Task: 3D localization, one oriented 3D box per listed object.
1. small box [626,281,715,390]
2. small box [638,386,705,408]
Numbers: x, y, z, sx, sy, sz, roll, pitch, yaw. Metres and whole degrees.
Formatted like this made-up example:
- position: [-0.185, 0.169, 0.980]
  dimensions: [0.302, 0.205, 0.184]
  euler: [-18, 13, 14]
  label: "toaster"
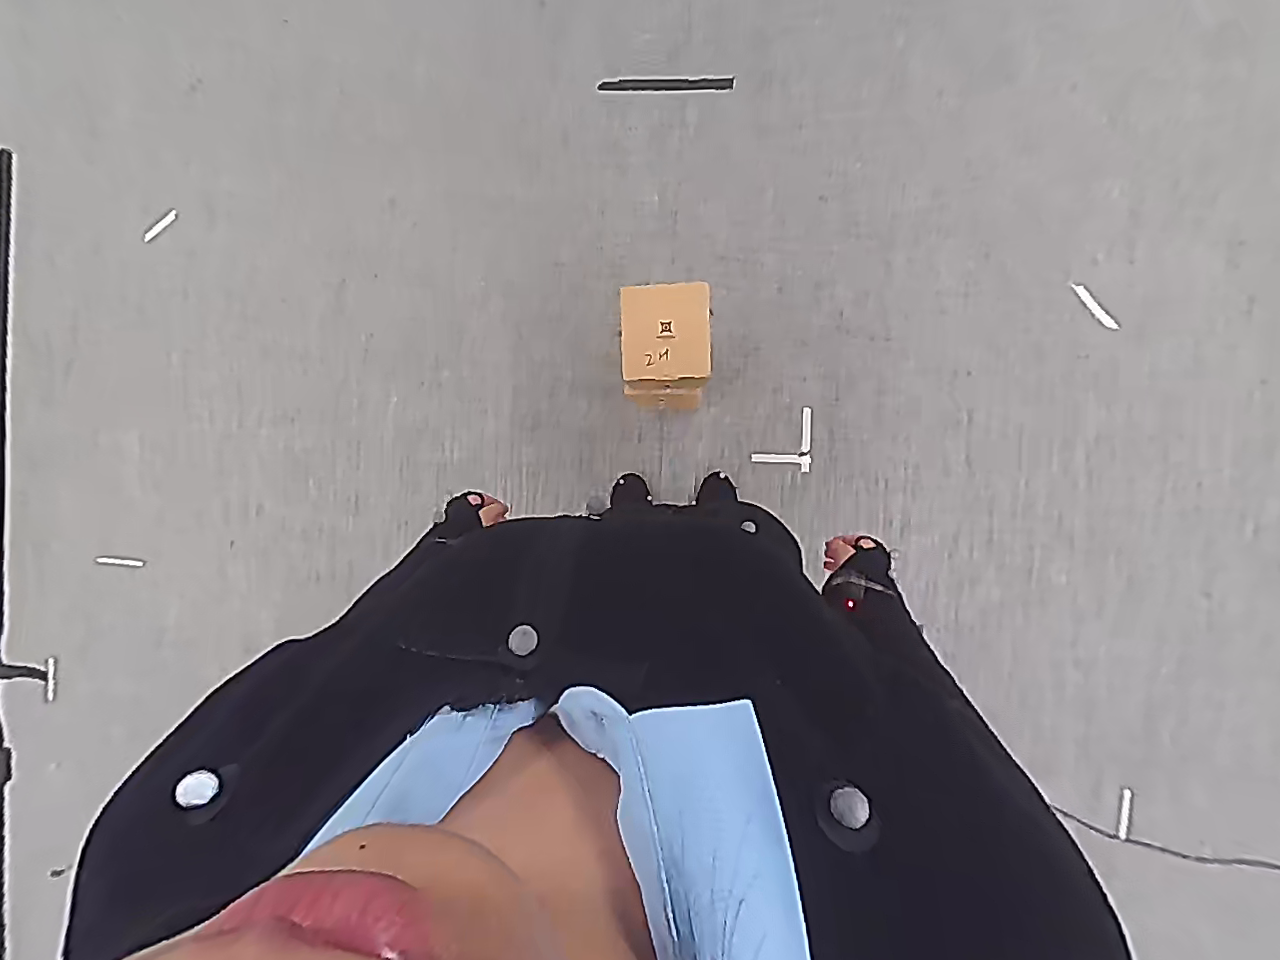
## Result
- position: [0.062, -0.279, 1.071]
  dimensions: [0.168, 0.176, 0.179]
  euler: [-1, 93, 5]
  label: "small box"
- position: [0.085, -0.285, 1.400]
  dimensions: [0.168, 0.176, 0.179]
  euler: [2, 93, 5]
  label: "small box"
